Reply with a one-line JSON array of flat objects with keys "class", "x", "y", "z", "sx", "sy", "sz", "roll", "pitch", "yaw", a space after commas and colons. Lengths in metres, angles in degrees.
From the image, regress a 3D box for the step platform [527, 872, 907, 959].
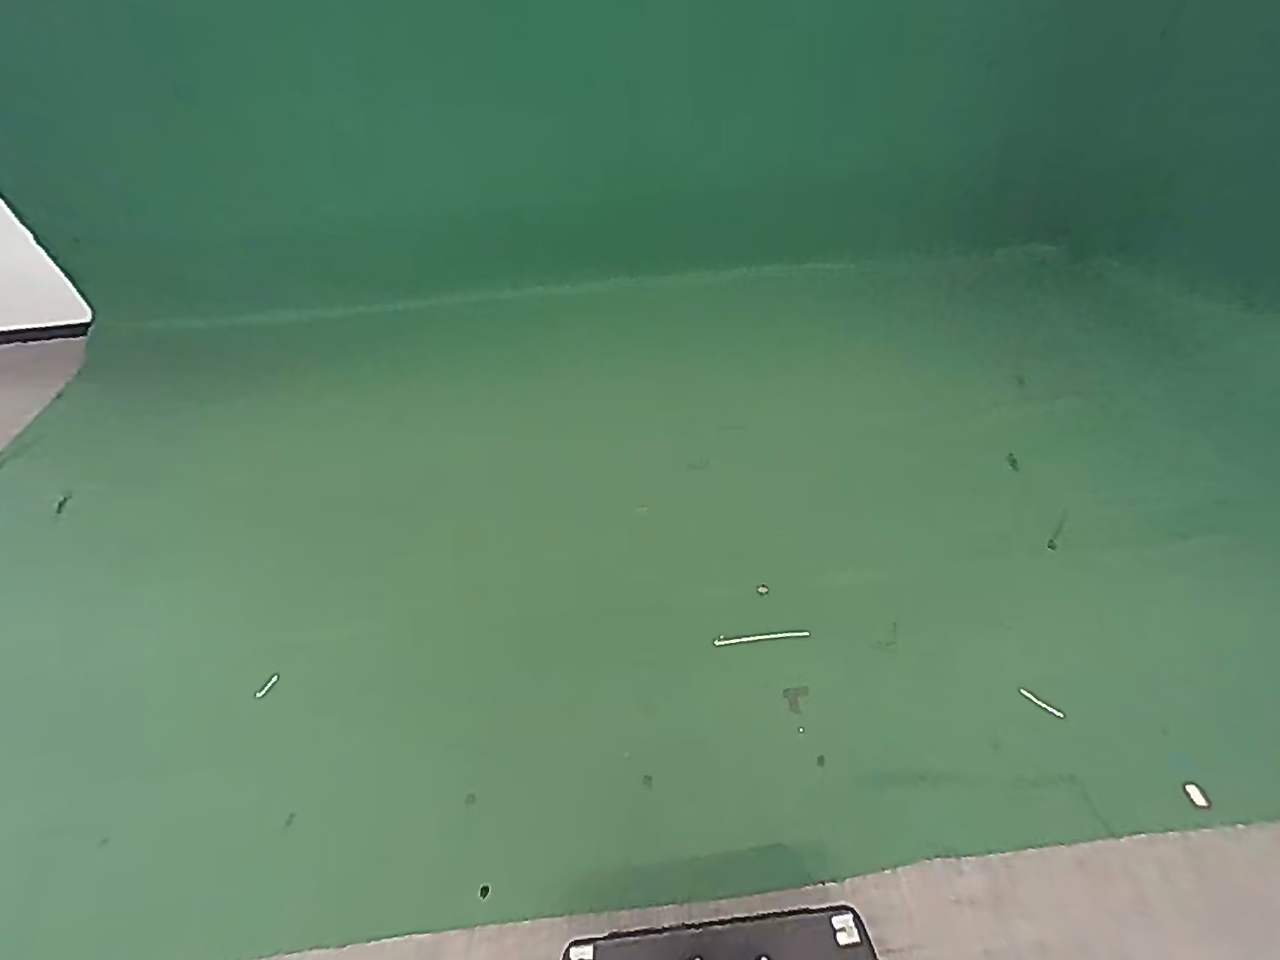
[{"class": "step platform", "x": 0.143, "y": 0.944, "z": 0.997, "sx": 0.684, "sy": 0.204, "sz": 0.286, "roll": -7, "pitch": 49, "yaw": -2}]
